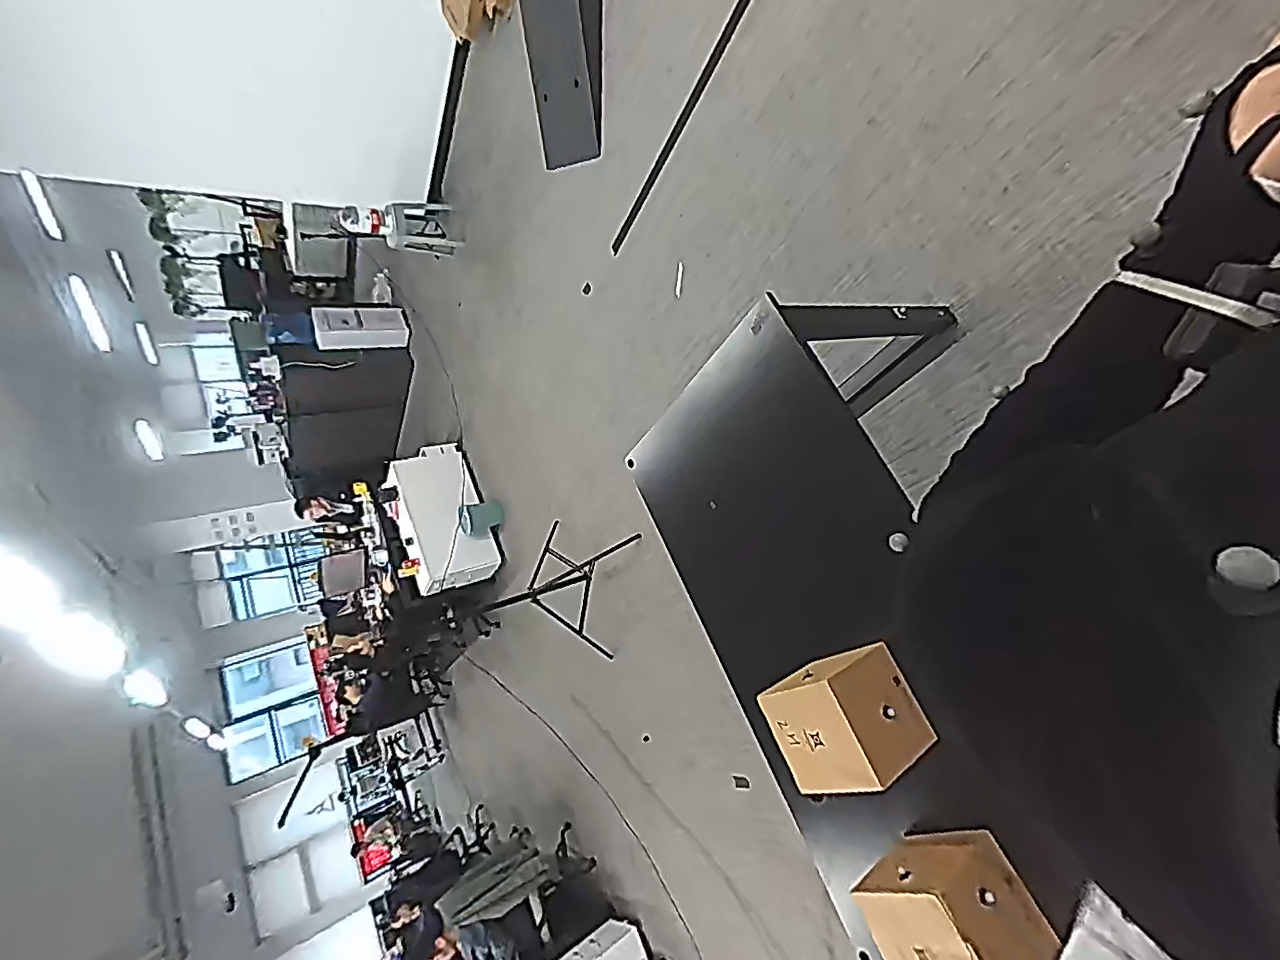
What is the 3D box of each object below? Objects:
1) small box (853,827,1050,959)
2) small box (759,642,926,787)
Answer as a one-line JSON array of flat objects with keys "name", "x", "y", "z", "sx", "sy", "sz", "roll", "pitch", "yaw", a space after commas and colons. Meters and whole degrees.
[{"name": "small box", "x": 0.472, "y": 0.654, "z": 0.816, "sx": 0.168, "sy": 0.176, "sz": 0.179, "roll": 62, "pitch": 143, "yaw": 22}, {"name": "small box", "x": 0.343, "y": 0.389, "z": 0.907, "sx": 0.179, "sy": 0.176, "sz": 0.168, "roll": -46, "pitch": 64, "yaw": 50}]
